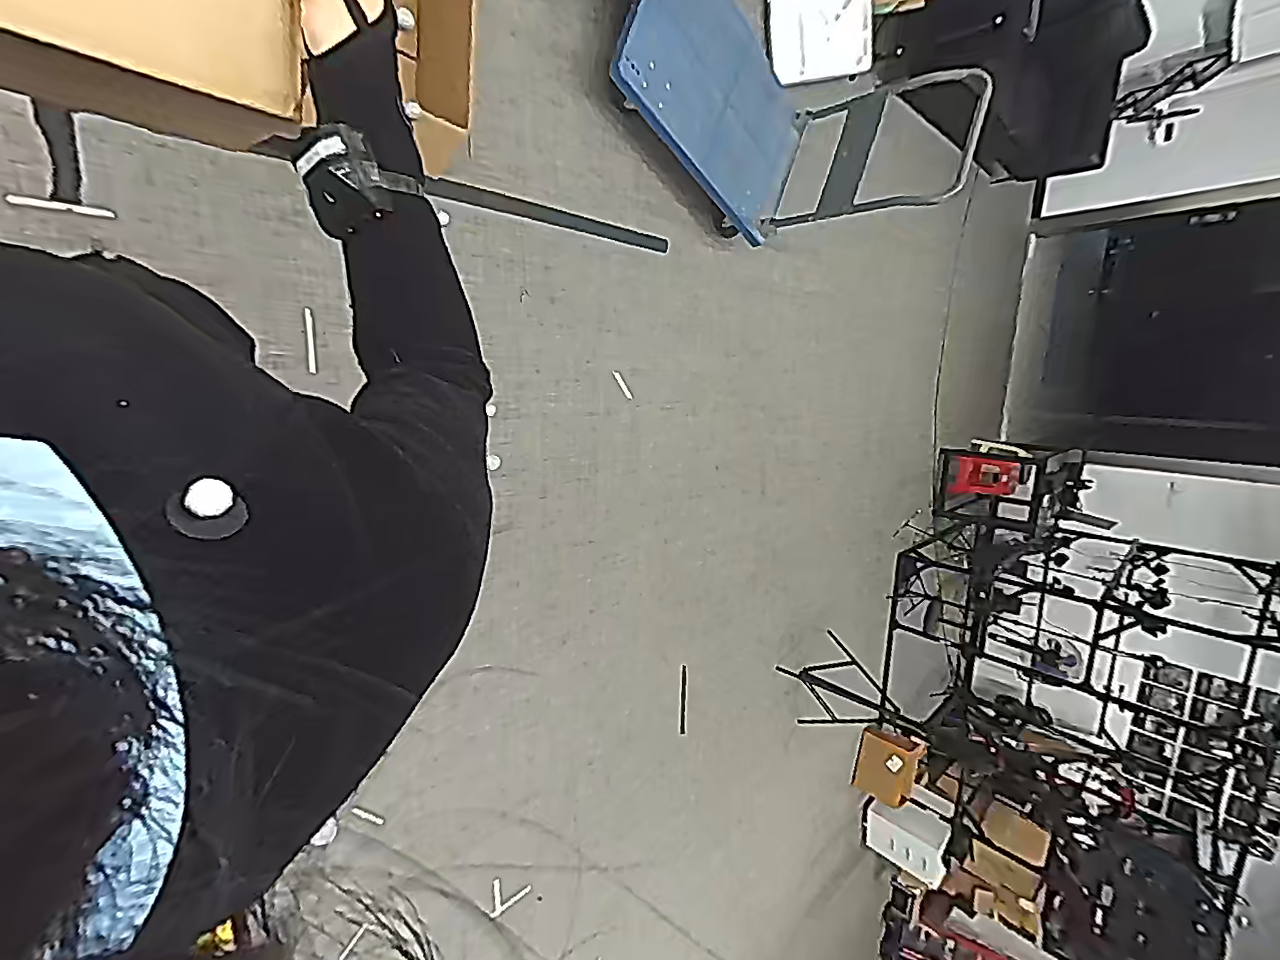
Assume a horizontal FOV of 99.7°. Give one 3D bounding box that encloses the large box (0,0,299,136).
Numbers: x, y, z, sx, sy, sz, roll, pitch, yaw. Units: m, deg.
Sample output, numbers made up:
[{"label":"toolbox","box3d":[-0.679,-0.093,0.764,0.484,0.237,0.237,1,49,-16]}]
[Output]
[{"label":"large box","box3d":[-0.491,-0.465,0.350,0.408,0.320,0.320,-7,113,-43]}]
